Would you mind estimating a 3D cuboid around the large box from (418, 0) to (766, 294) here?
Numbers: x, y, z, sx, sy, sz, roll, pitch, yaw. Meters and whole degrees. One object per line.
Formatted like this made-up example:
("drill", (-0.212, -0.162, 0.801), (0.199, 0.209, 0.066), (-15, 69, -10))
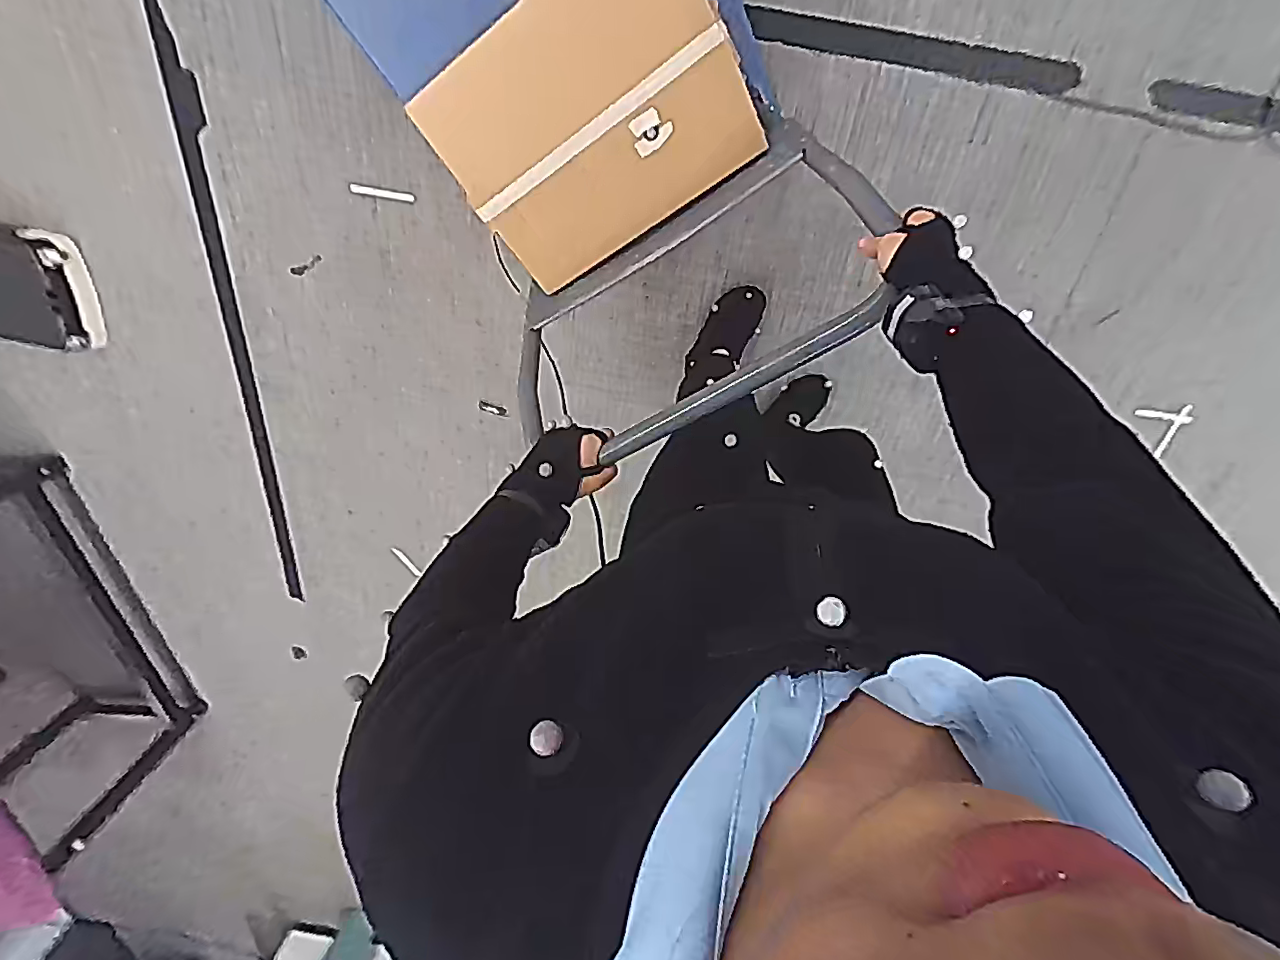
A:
("large box", (-0.071, -0.586, 0.872), (0.408, 0.320, 0.320), (-28, 128, 18))
